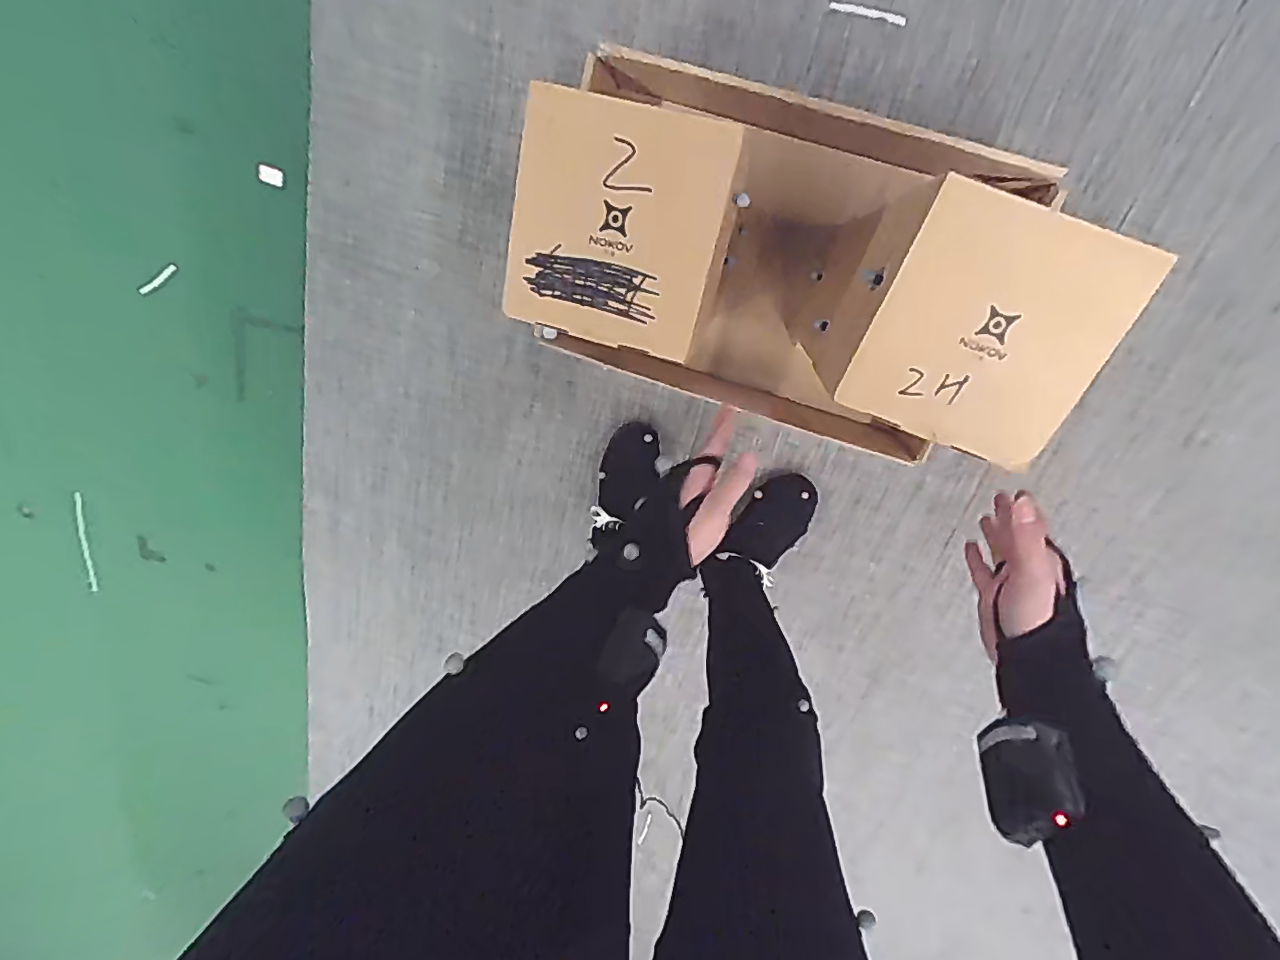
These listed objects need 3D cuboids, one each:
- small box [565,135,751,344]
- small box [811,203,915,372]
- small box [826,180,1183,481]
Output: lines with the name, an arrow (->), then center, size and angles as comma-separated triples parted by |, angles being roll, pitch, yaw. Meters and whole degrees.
small box -> 0.027, -0.277, 0.648 | 0.168, 0.176, 0.179 | 17, 112, 6
small box -> 0.312, -0.193, 0.624 | 0.168, 0.176, 0.179 | 22, 114, 2
small box -> 0.280, -0.132, 0.474 | 0.168, 0.176, 0.179 | 23, 115, 2
